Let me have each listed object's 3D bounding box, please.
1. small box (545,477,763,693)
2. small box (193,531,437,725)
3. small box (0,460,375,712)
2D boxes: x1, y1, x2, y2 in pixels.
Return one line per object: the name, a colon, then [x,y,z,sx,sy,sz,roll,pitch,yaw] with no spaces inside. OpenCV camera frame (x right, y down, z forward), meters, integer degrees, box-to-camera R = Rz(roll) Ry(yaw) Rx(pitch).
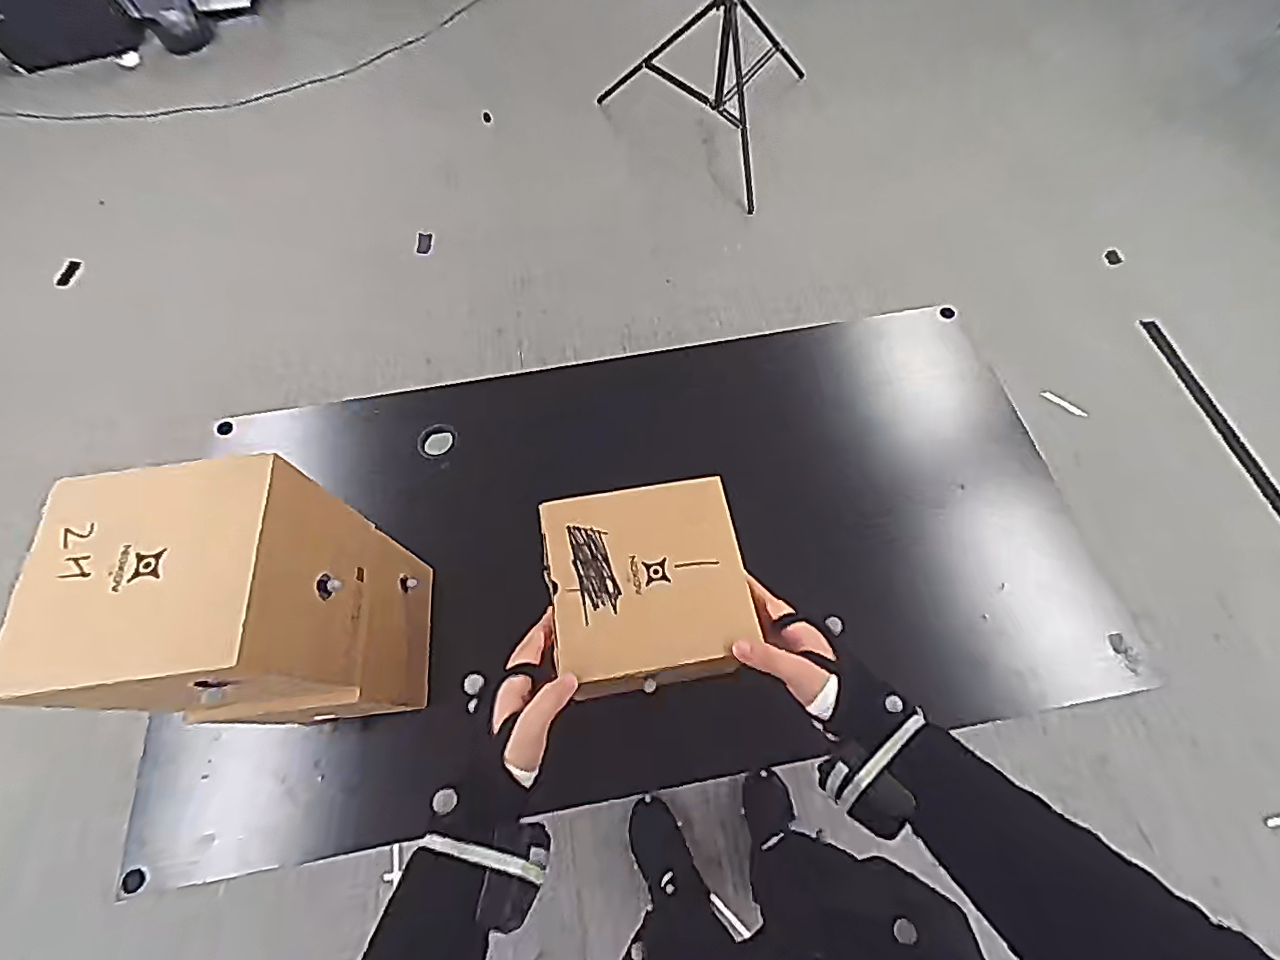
small box: [0.007,0.116,0.555,0.179,0.176,0.168,-8,65,-6]
small box: [-0.343,0.174,0.612,0.168,0.176,0.179,-7,66,-1]
small box: [-0.353,0.100,0.464,0.179,0.176,0.168,-7,65,-1]
